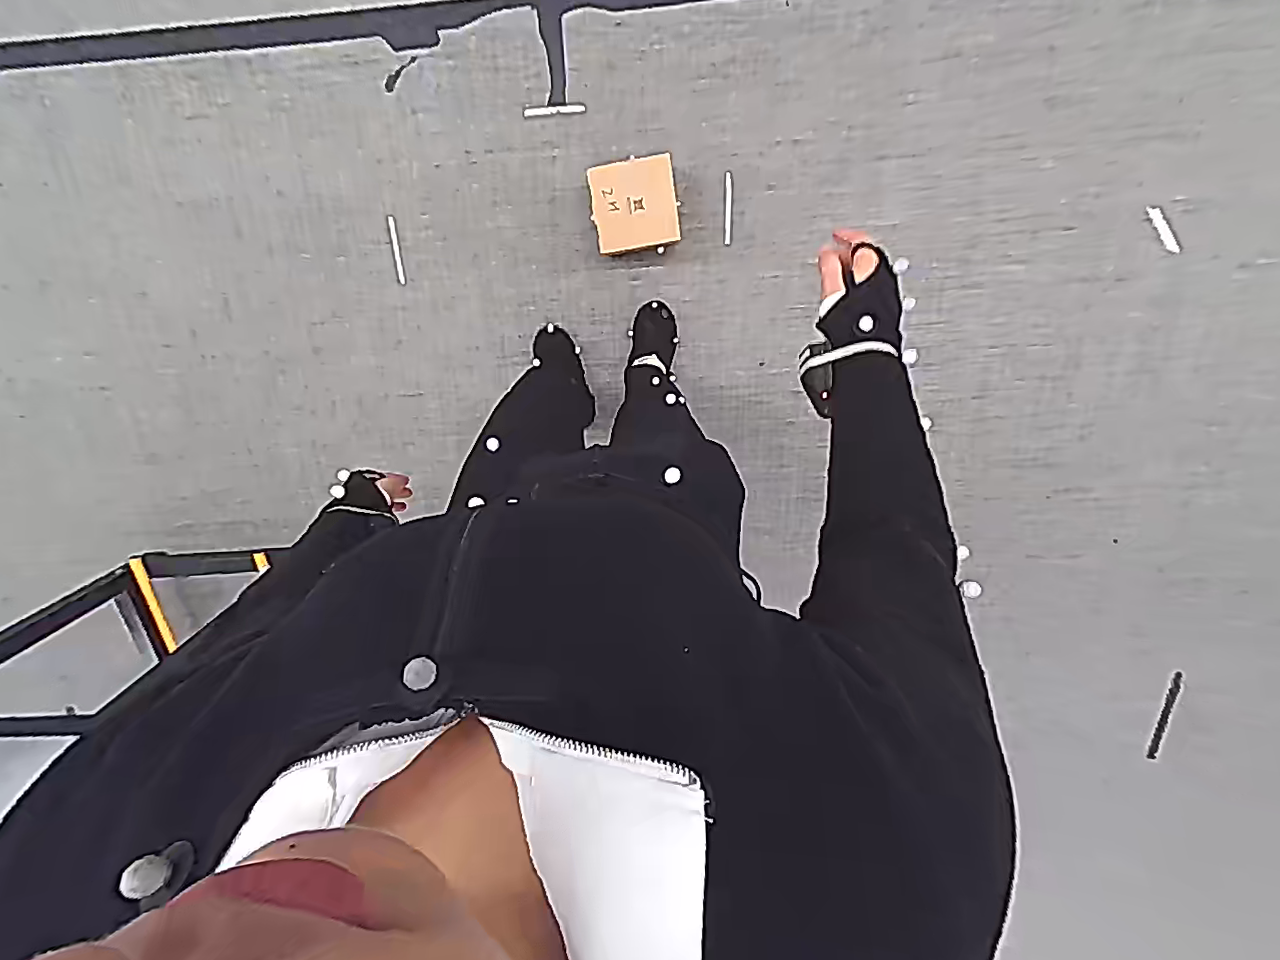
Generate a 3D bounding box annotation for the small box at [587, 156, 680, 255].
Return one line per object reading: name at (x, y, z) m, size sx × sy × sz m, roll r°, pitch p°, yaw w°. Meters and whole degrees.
small box at (-0.012, -0.599, 1.195) m, size 0.179 × 0.176 × 0.168 m, roll -8°, pitch 111°, yaw 4°
